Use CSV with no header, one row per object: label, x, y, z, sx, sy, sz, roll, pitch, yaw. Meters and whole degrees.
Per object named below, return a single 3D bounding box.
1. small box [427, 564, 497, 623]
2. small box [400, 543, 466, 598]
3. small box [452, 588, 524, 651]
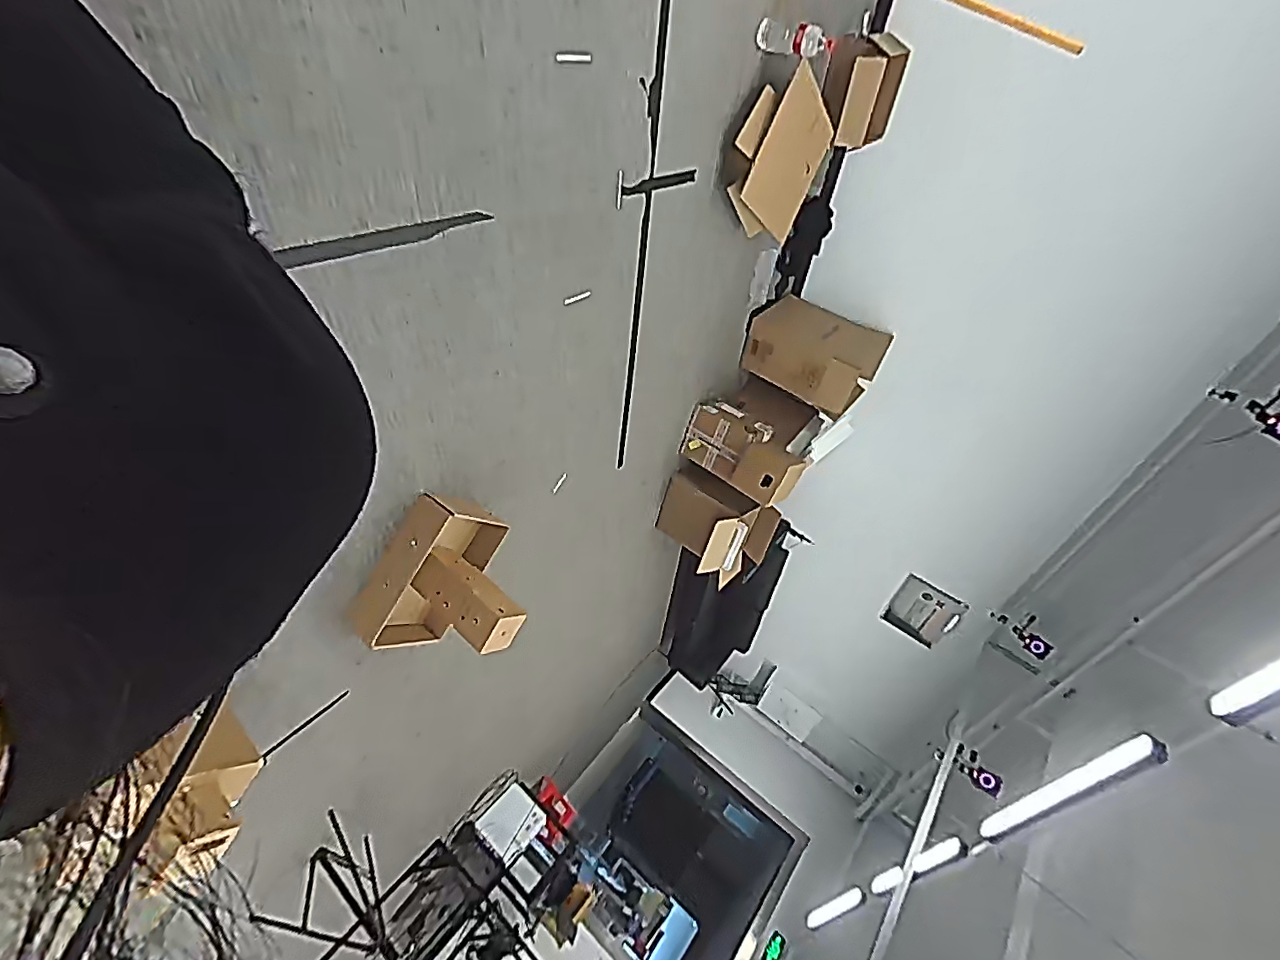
small box,-0.725,0.454,2.191,0.168,0.176,0.179,-58,157,6
small box,-0.854,0.378,2.254,0.168,0.176,0.179,-58,156,2
small box,-0.602,0.541,2.124,0.168,0.176,0.179,-58,156,7
